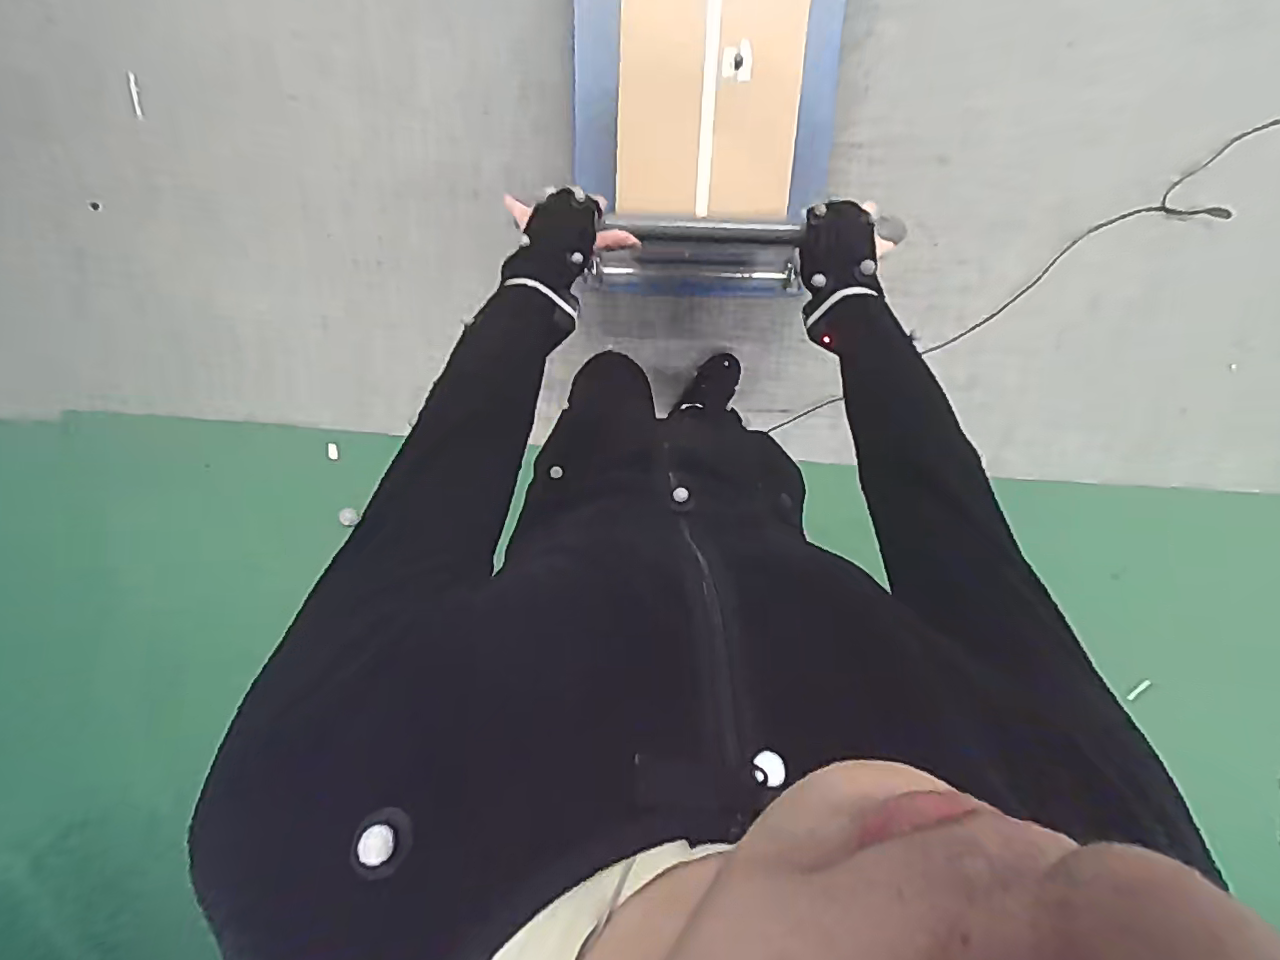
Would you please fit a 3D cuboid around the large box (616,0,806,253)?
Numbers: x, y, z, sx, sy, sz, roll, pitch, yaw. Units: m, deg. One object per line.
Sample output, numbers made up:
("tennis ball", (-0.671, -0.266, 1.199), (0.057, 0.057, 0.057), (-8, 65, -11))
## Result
("large box", (0.129, -0.684, 1.076), (0.320, 0.320, 0.408), (4, 107, 4))
